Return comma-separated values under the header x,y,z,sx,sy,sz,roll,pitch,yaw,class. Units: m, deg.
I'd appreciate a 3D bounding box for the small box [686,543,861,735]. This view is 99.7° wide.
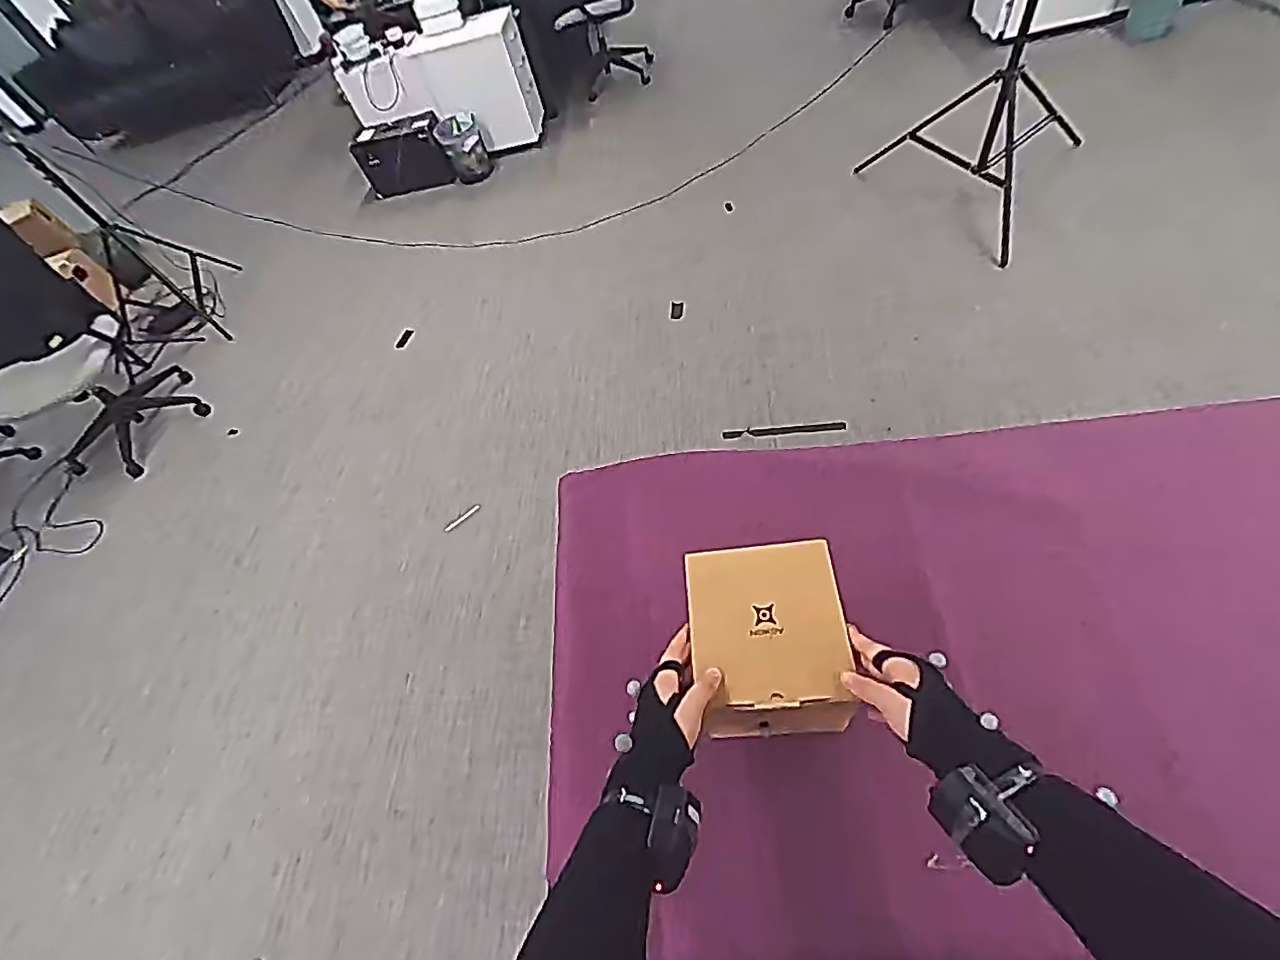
x,y,z,sx,sy,sz,roll,pitch,yaw,class
0.149,0.196,0.648,0.168,0.176,0.179,-7,56,9,small box
